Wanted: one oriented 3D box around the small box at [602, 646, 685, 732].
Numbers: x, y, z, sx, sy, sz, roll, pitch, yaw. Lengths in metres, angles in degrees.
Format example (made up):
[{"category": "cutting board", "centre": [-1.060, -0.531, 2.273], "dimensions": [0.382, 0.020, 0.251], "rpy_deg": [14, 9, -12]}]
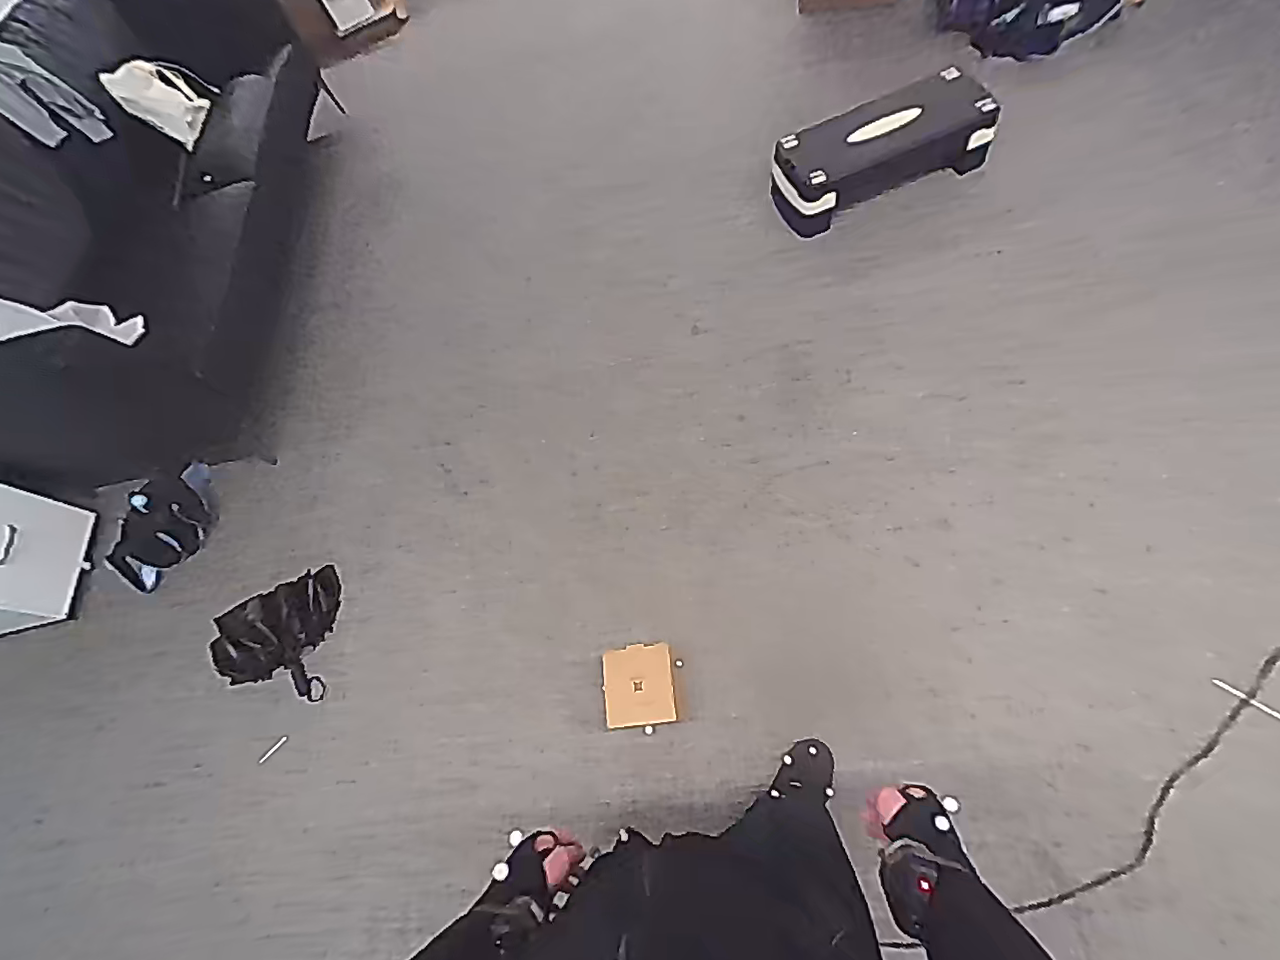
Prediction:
[{"category": "small box", "centre": [0.010, 0.520, 1.338], "dimensions": [0.168, 0.176, 0.179], "rpy_deg": [-11, 65, 10]}]
